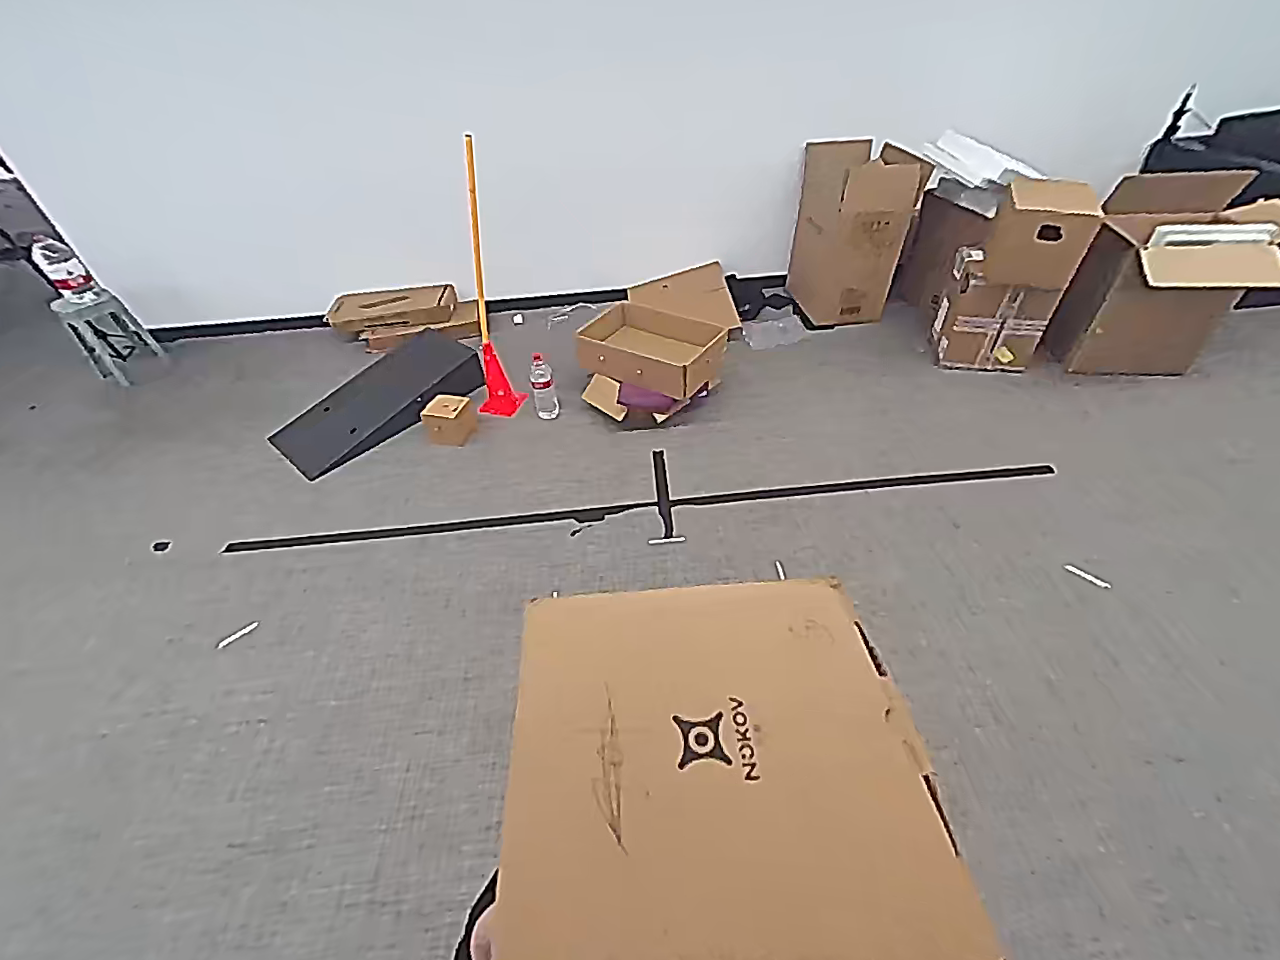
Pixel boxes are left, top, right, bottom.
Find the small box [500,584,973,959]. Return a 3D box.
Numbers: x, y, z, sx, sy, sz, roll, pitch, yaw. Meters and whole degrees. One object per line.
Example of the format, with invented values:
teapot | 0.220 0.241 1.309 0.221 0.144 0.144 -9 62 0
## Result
small box | 0.032 0.181 0.303 0.179 0.176 0.168 -6 42 -3
